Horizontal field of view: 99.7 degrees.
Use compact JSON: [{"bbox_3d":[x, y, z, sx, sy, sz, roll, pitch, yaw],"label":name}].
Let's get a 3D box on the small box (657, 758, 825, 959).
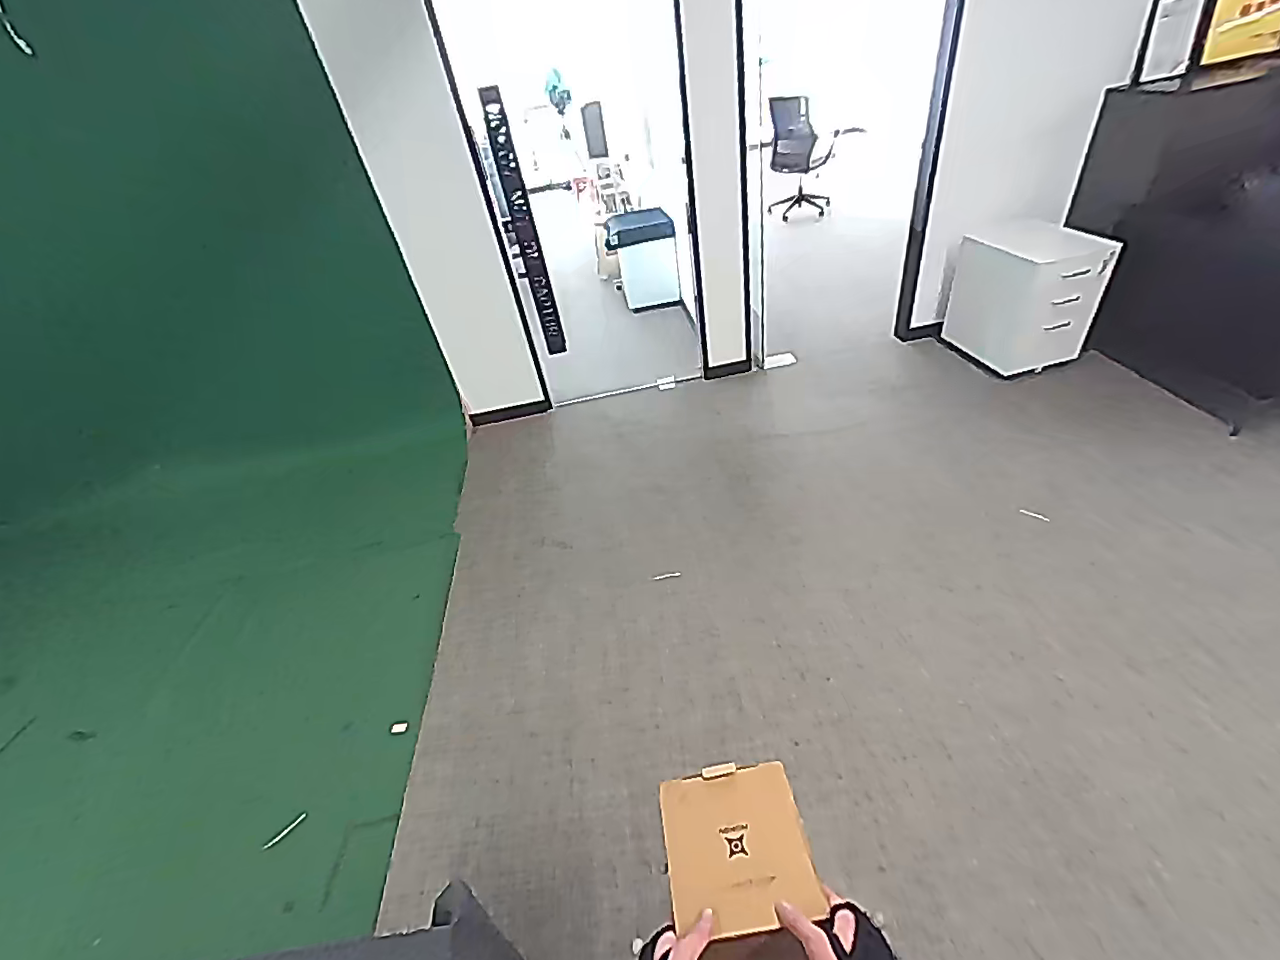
[{"bbox_3d":[0.117,0.480,0.663,0.168,0.176,0.179,-11,30,3],"label":"small box"}]
